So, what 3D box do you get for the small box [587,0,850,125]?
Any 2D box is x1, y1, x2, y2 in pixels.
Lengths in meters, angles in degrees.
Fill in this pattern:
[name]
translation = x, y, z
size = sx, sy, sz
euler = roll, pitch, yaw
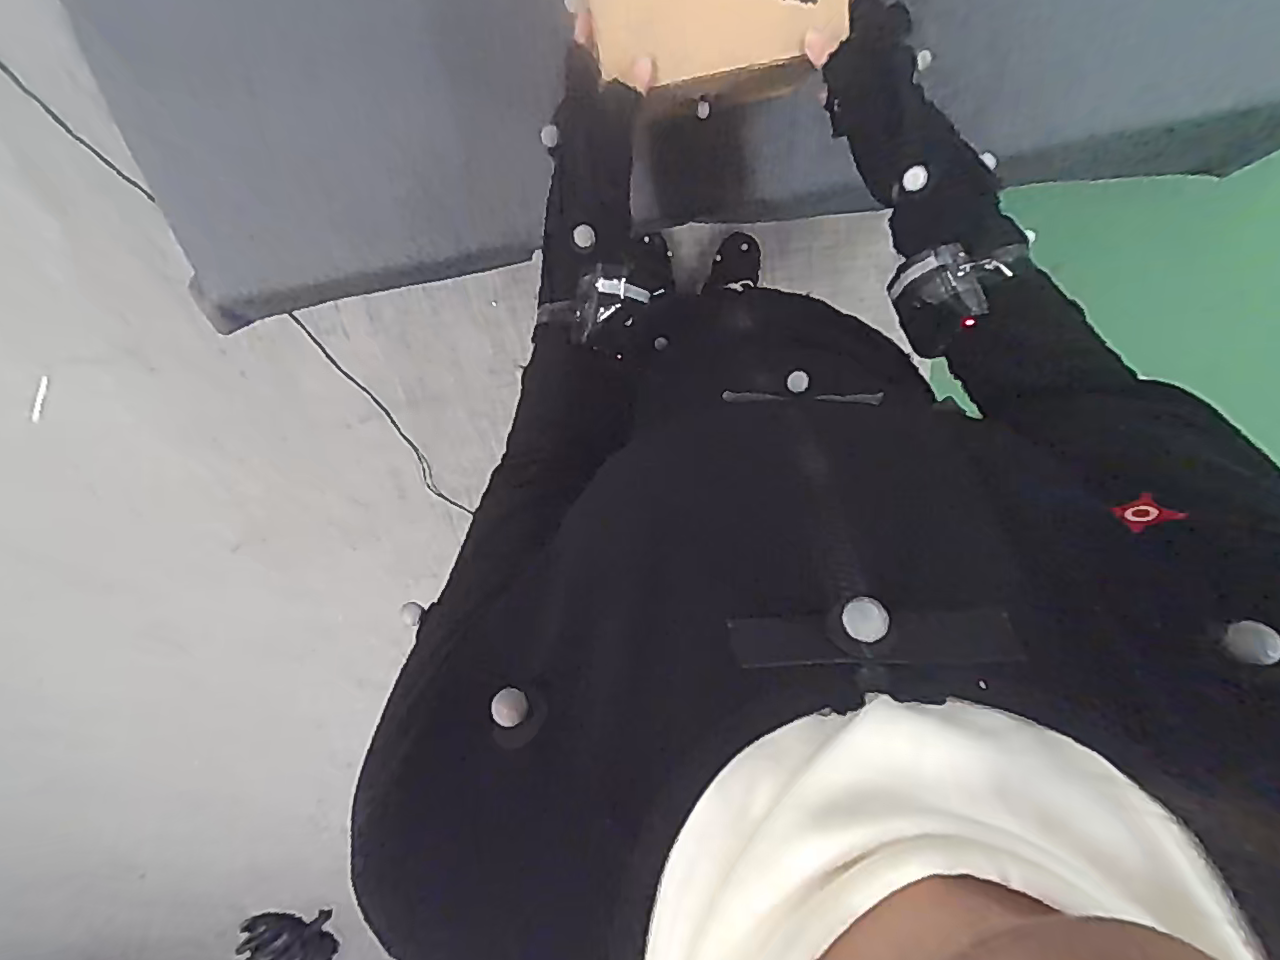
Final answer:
[small box]
translation = 0.045, -0.394, 0.417
size = 0.179, 0.176, 0.168
euler = -10, 116, 3
